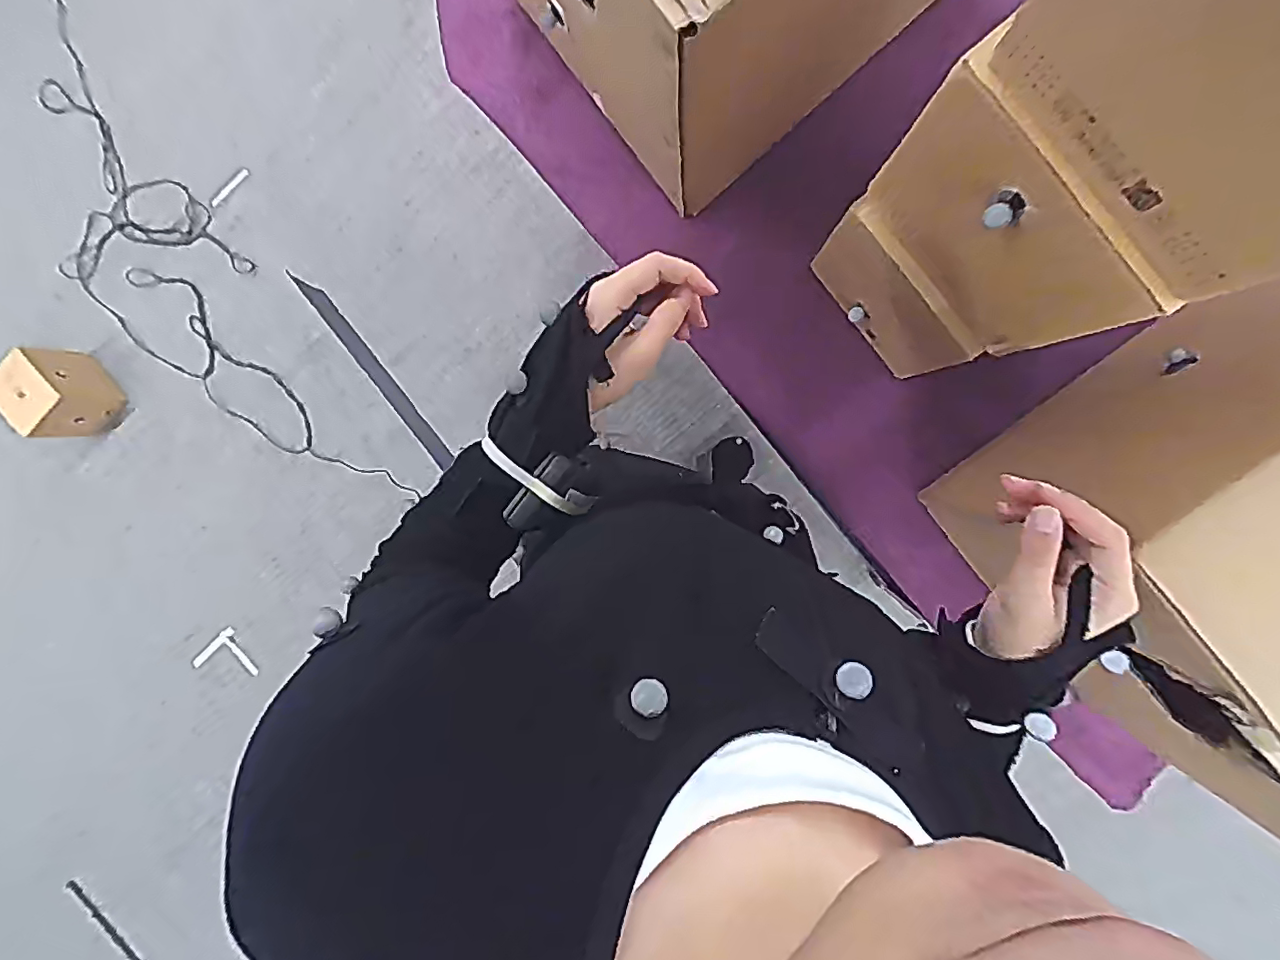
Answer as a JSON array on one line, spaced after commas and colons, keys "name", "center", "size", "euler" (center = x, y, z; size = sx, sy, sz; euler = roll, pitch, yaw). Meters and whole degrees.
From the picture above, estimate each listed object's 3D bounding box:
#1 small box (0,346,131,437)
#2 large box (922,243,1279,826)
[{"name": "small box", "center": [-1.558, -0.236, 1.466], "size": [0.168, 0.176, 0.179], "euler": [-40, 90, 9]}, {"name": "large box", "center": [0.543, 0.021, 0.441], "size": [0.408, 0.320, 0.320], "euler": [-39, 91, 7]}]
